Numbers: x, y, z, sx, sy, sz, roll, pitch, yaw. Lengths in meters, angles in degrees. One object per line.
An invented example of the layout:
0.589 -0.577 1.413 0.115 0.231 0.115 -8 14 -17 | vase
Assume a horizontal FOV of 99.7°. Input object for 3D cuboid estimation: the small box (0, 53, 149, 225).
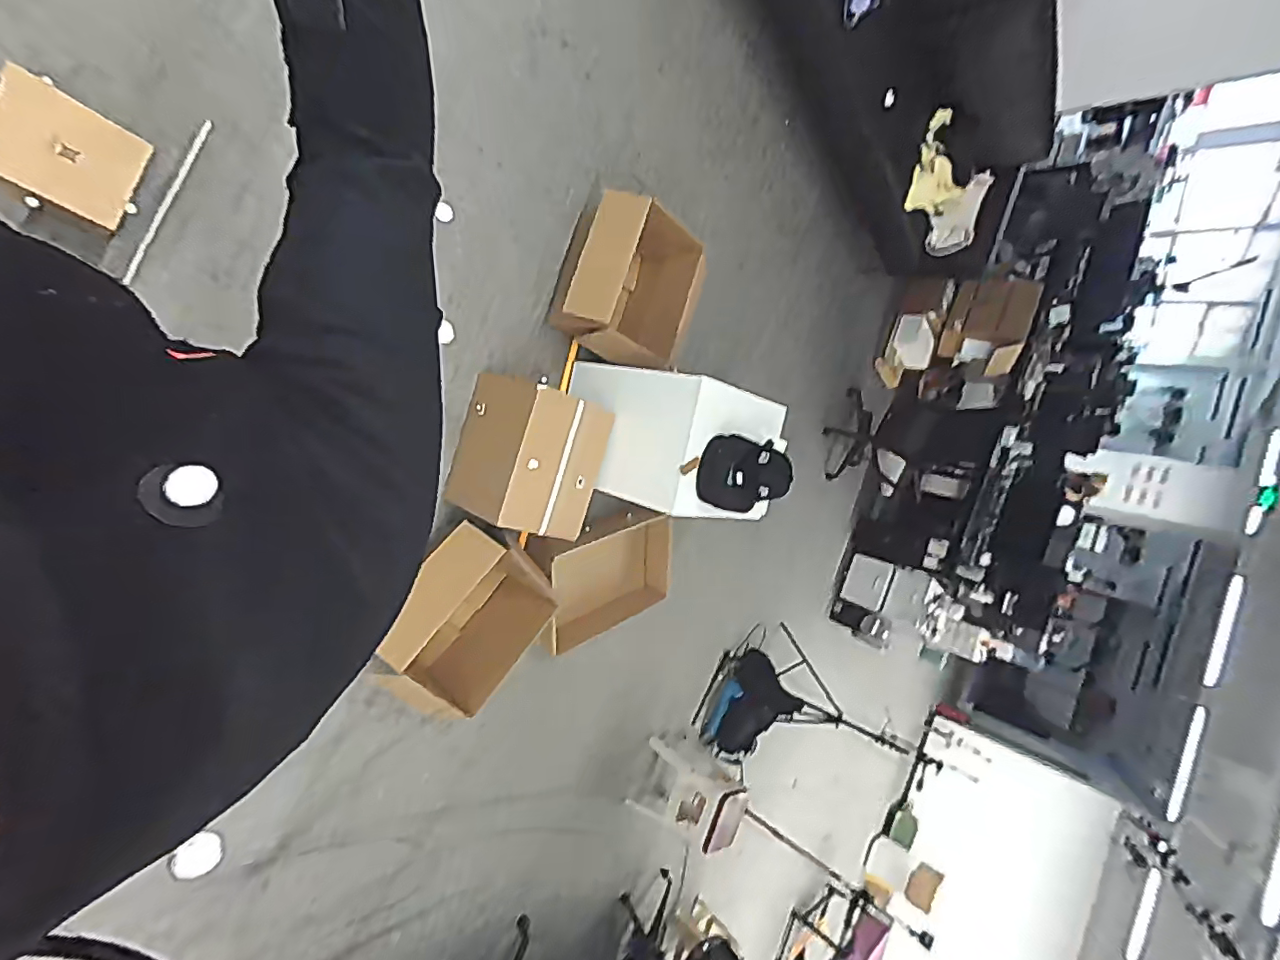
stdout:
-0.975 -0.550 0.902 0.179 0.176 0.168 26 83 -49 | small box
